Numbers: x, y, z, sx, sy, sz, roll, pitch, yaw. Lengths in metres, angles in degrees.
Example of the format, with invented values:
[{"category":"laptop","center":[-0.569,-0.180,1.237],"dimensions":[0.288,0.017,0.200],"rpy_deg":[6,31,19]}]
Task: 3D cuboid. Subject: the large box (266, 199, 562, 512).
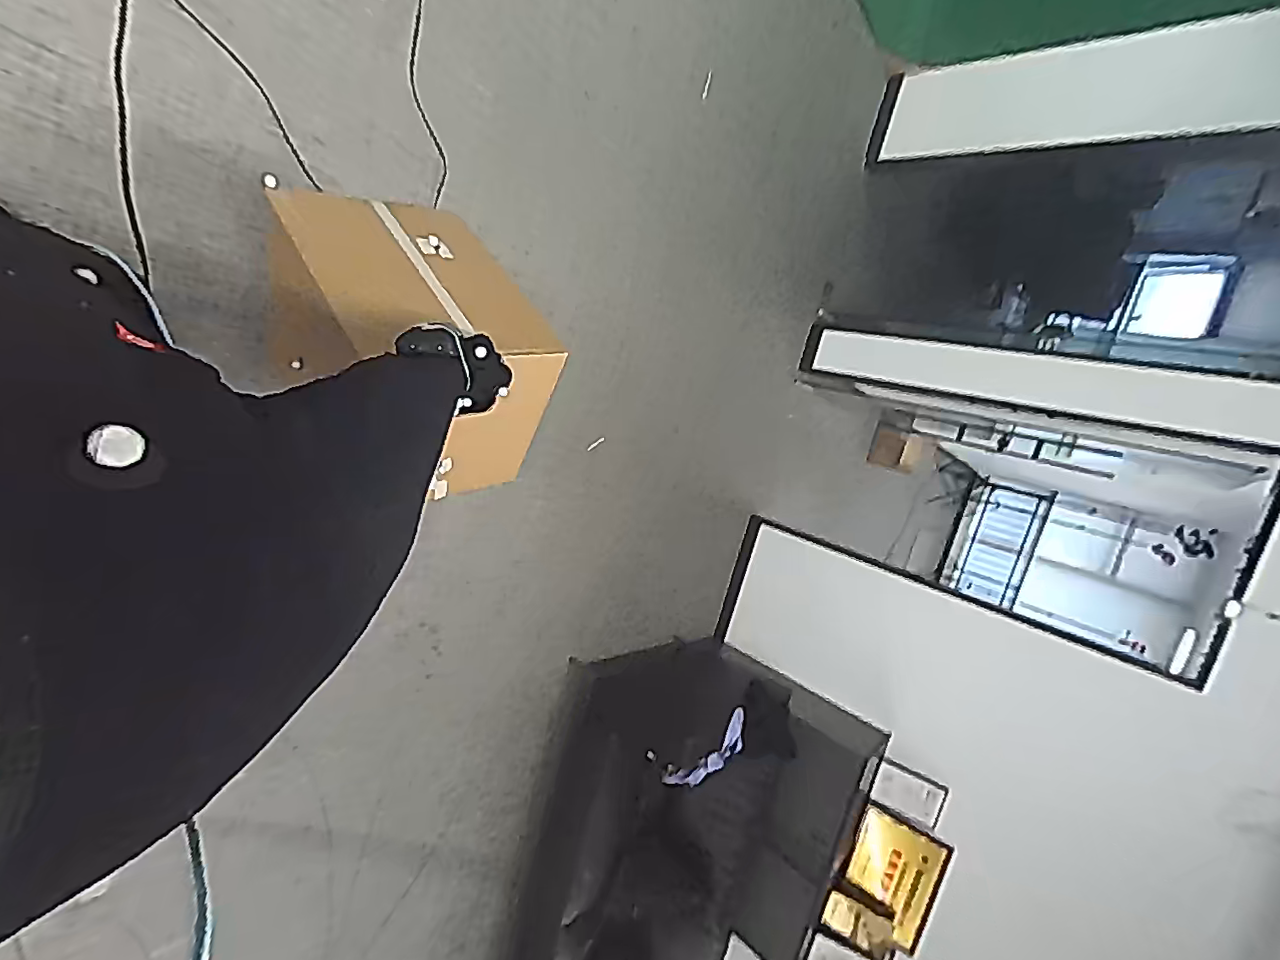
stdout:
[{"category":"large box","center":[-0.403,-0.214,0.935],"dimensions":[0.320,0.408,0.320],"rpy_deg":[-15,148,-43]}]
